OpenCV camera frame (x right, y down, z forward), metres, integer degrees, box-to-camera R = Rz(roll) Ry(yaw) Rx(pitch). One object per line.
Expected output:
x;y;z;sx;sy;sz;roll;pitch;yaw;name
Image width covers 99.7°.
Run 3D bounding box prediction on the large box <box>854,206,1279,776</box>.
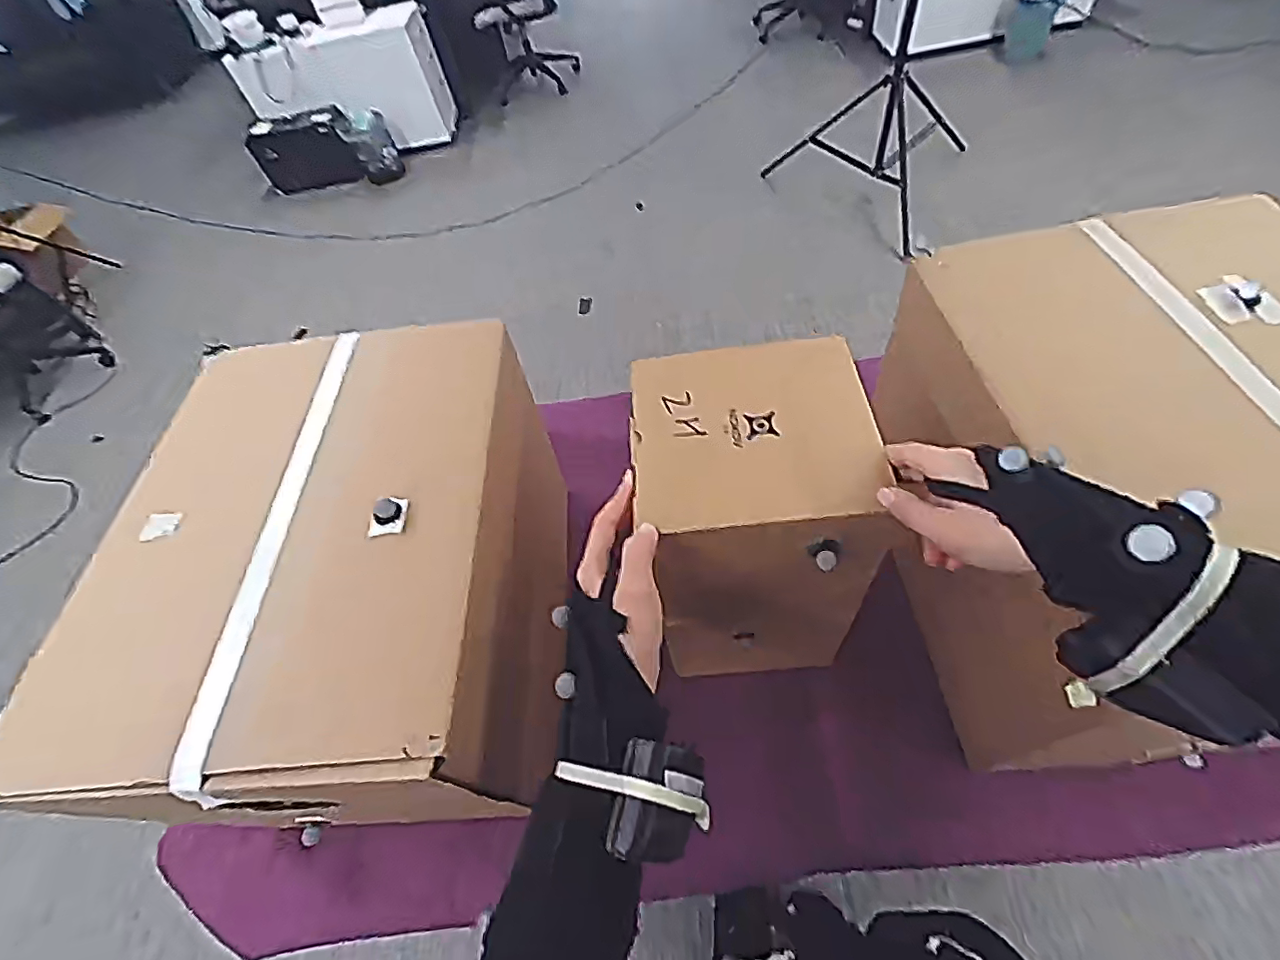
0.435;0.016;0.506;0.320;0.320;0.408;-7;53;4;large box
